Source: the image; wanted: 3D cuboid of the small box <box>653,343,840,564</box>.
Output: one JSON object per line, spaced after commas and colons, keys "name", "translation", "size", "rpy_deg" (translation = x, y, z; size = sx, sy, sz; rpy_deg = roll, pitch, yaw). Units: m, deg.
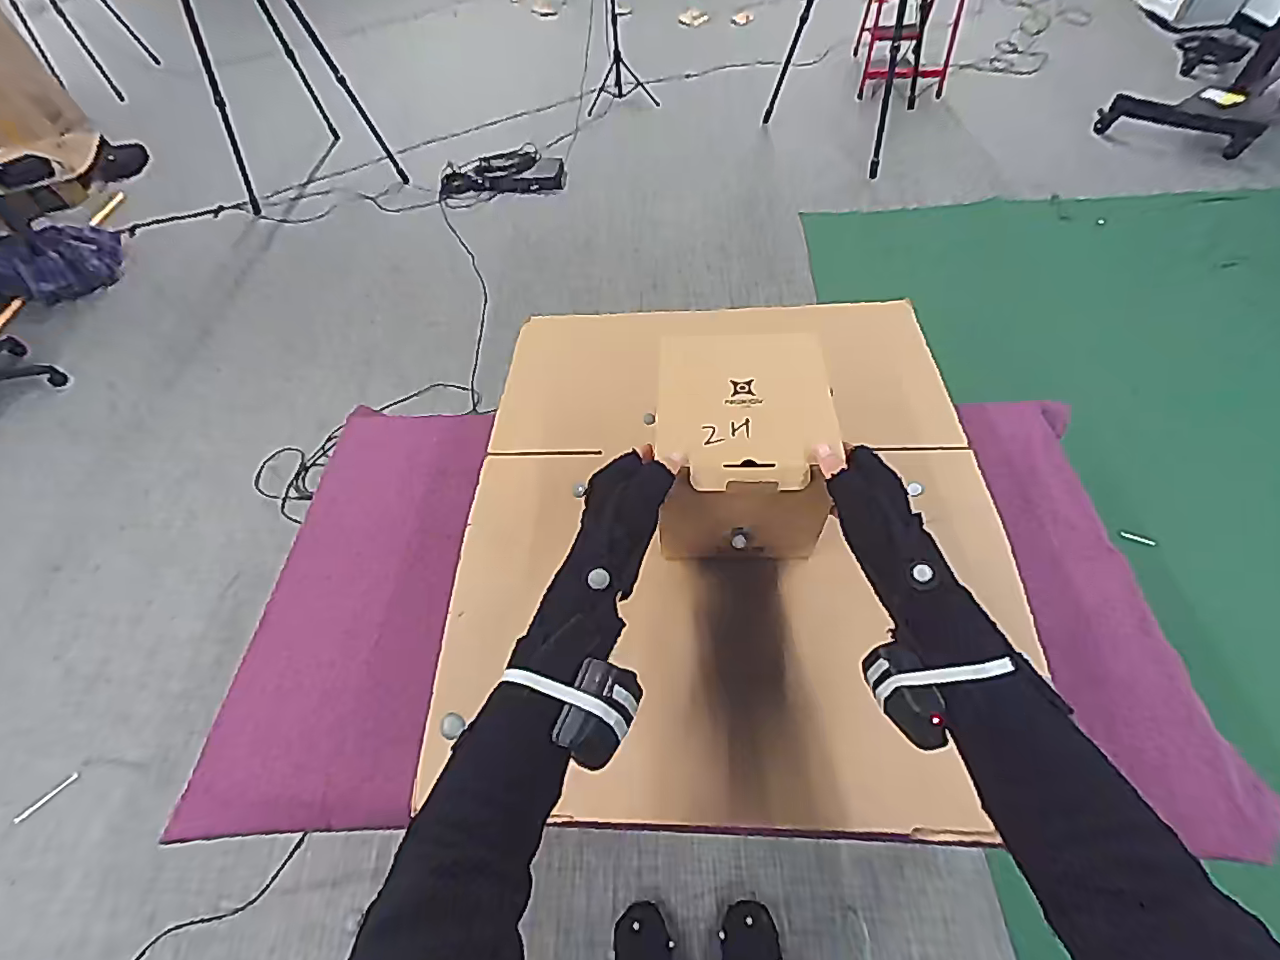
{"name": "small box", "translation": [0.102, -0.027, 0.587], "size": [0.168, 0.176, 0.179], "rpy_deg": [-1, 54, 5]}
